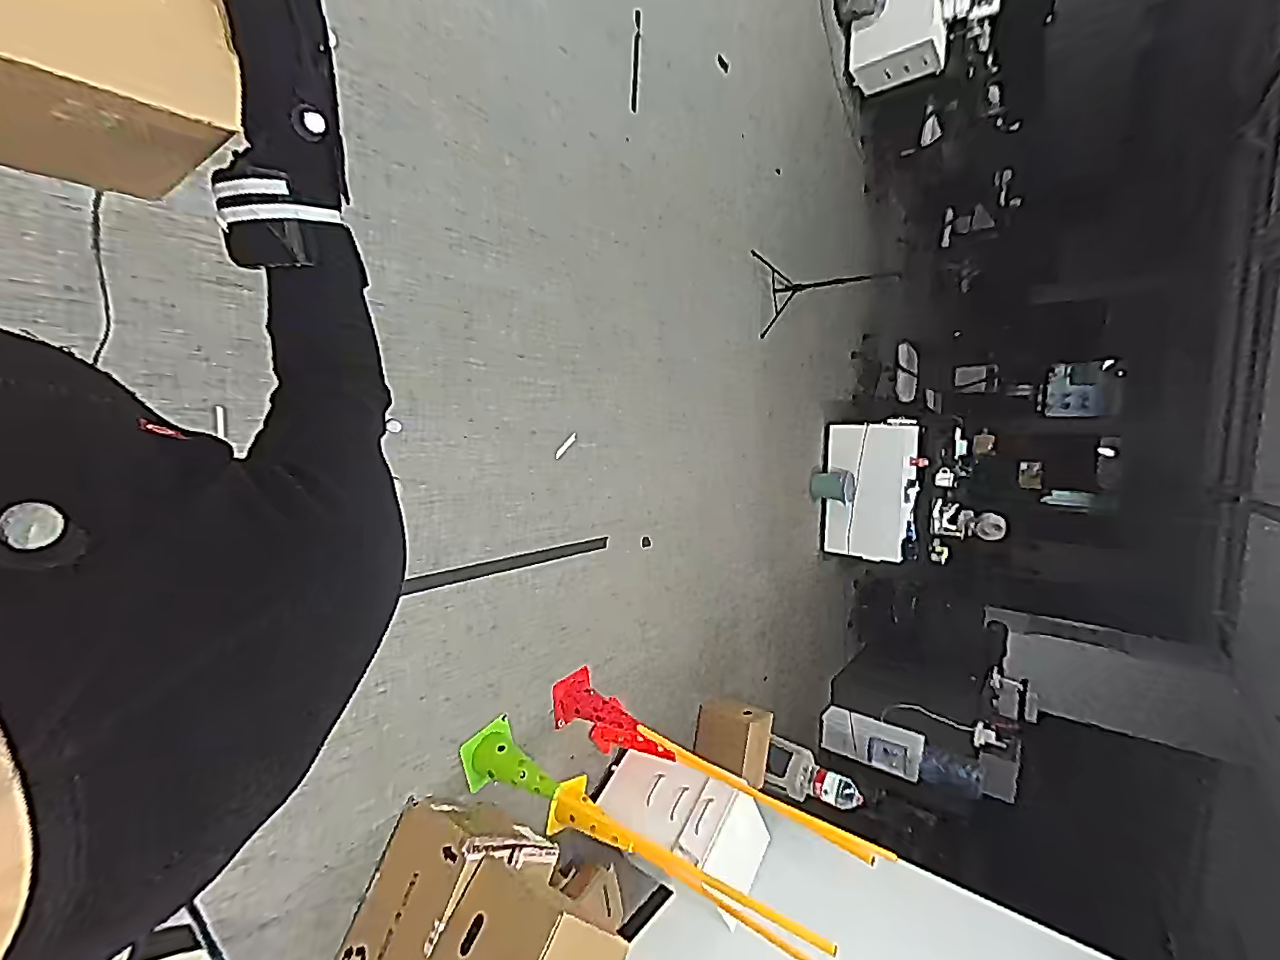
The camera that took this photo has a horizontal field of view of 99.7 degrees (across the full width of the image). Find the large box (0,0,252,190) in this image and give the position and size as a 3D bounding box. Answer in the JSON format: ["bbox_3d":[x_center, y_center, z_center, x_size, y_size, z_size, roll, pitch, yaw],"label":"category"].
[{"bbox_3d":[-0.503,-0.401,0.292,0.408,0.320,0.320,-8,107,-50],"label":"large box"}]
